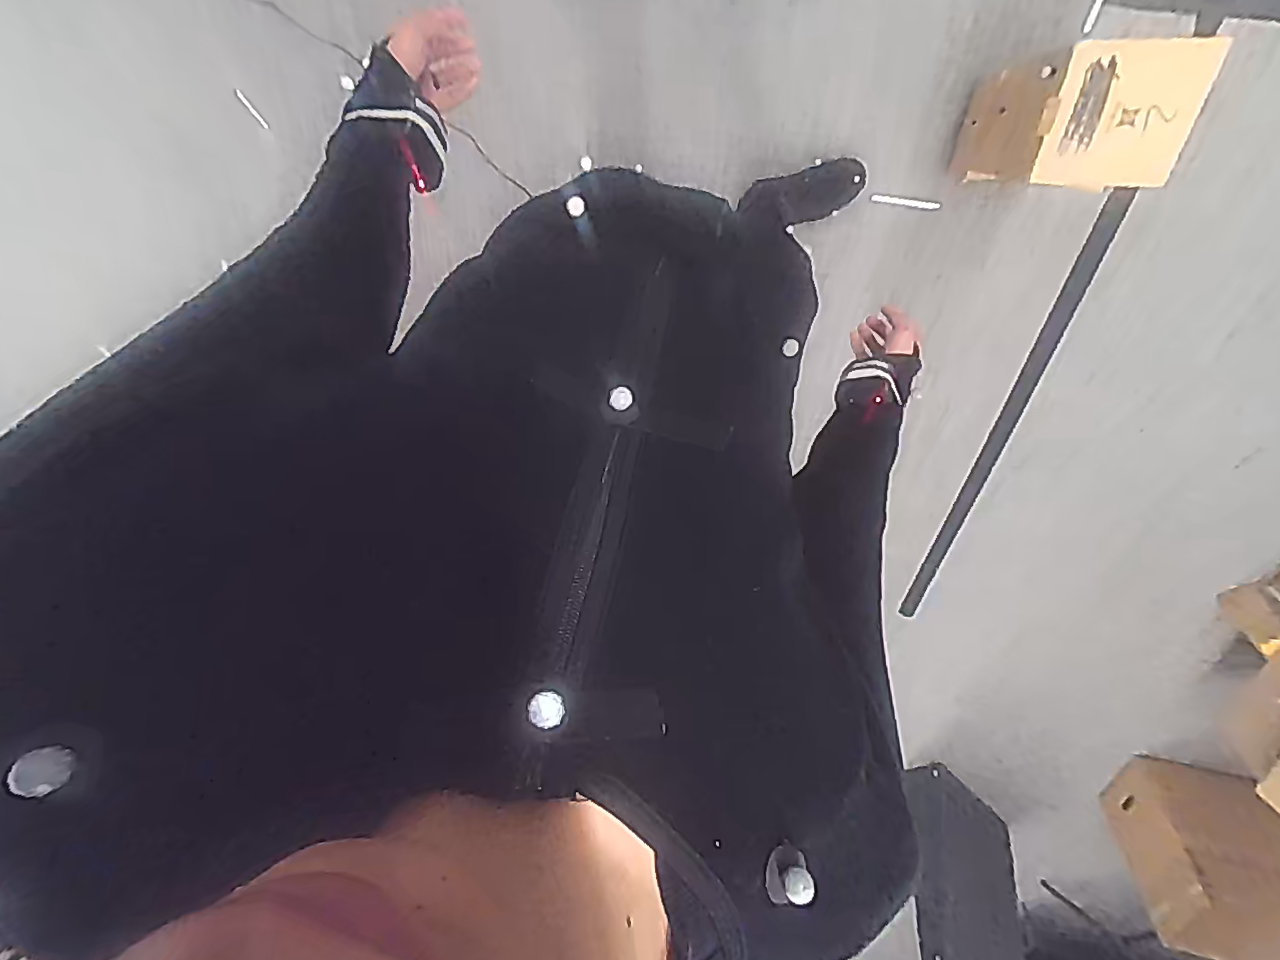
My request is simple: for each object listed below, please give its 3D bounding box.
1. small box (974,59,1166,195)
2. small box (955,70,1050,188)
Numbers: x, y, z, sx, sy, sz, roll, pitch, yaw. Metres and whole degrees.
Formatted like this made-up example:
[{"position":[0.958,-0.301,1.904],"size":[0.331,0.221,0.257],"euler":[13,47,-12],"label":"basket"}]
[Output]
[{"position":[0.718,-0.605,0.931],"size":[0.179,0.176,0.168],"euler":[15,125,9],"label":"small box"},{"position":[0.747,-0.689,1.067],"size":[0.168,0.176,0.179],"euler":[11,123,10],"label":"small box"}]
